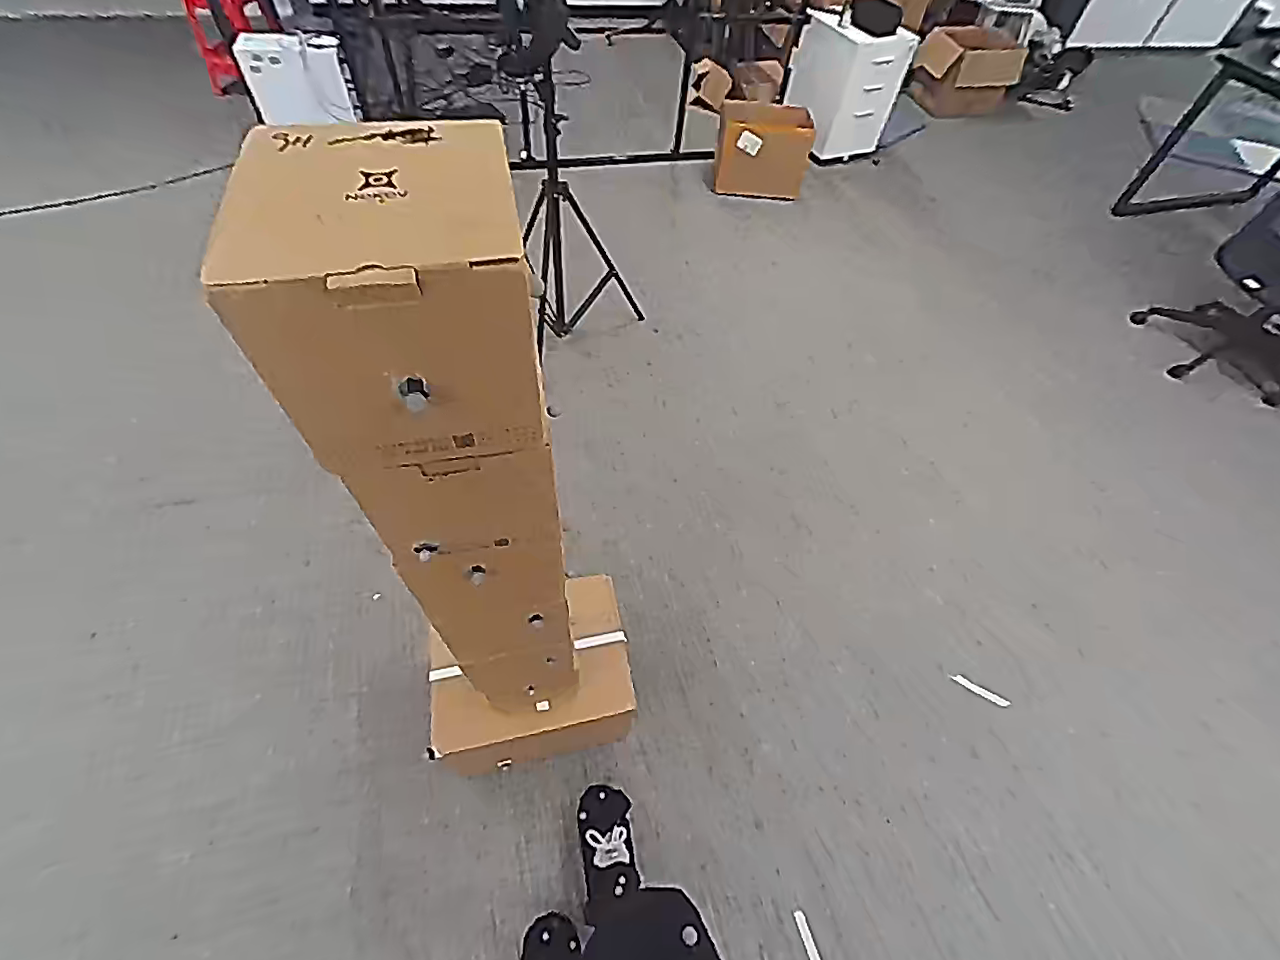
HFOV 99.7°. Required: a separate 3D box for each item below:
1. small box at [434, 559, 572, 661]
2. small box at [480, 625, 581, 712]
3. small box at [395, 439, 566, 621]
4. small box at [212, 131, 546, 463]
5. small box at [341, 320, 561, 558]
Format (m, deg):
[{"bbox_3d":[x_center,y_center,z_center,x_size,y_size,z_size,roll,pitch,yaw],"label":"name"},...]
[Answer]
[{"bbox_3d":[-0.198,0.153,0.804,0.179,0.176,0.168,-8,56,-10],"label":"small box"},{"bbox_3d":[-0.218,0.343,1.072,0.179,0.176,0.168,-10,58,-13],"label":"small box"},{"bbox_3d":[-0.186,0.060,0.673,0.179,0.176,0.168,-8,57,-10],"label":"small box"},{"bbox_3d":[-0.166,-0.126,0.403,0.168,0.176,0.179,-8,58,-11],"label":"small box"},{"bbox_3d":[-0.172,-0.035,0.539,0.168,0.176,0.179,-8,56,-10],"label":"small box"}]
